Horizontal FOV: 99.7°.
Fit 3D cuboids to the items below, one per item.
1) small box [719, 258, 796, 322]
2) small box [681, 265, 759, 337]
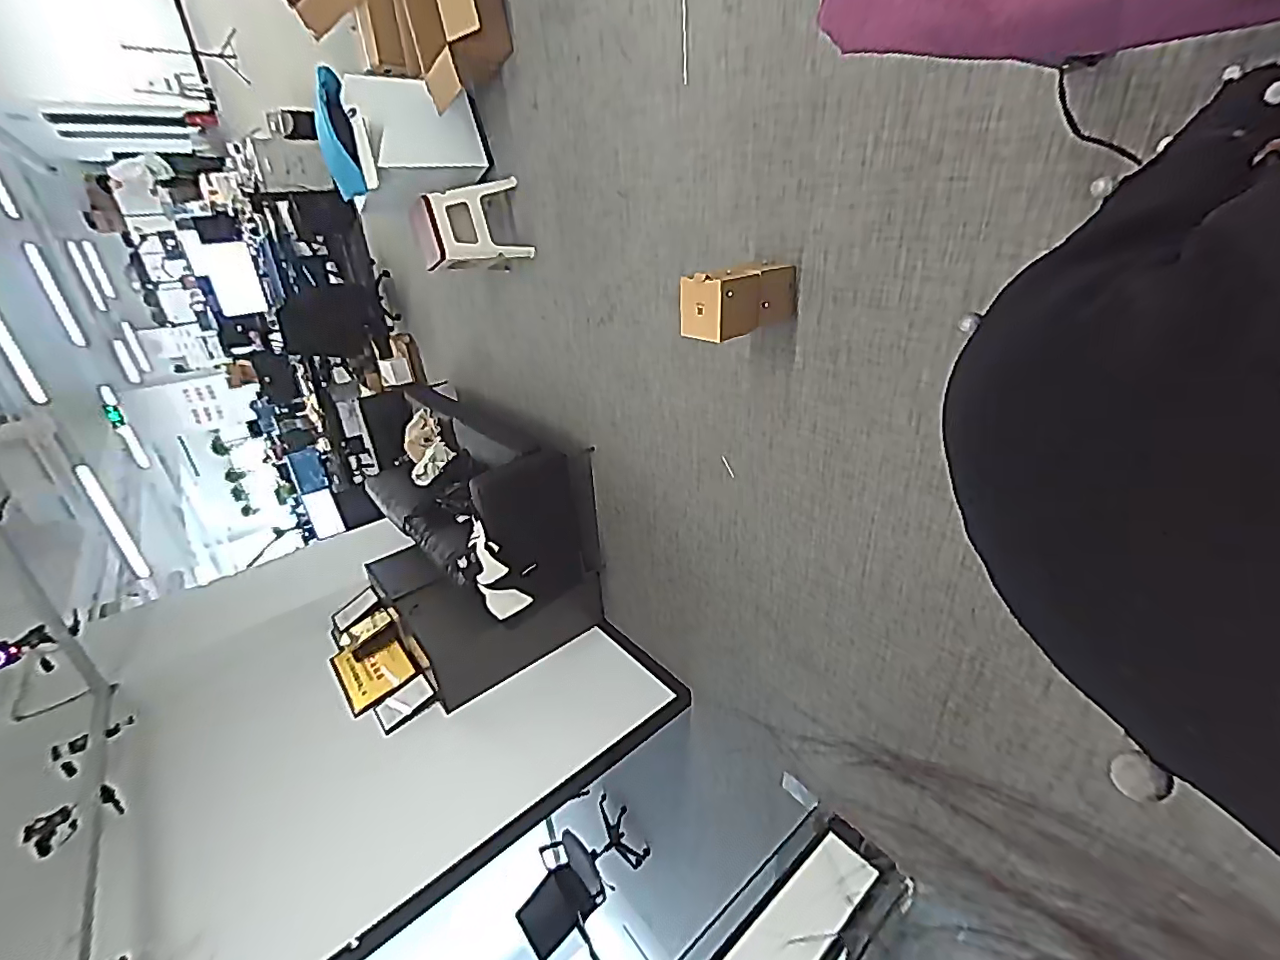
[{"bbox_3d":[0.368,-0.606,1.713,0.179,0.176,0.168,27,130,45],"label":"small box"},{"bbox_3d":[0.241,-0.543,1.630,0.168,0.176,0.179,26,129,44],"label":"small box"}]
